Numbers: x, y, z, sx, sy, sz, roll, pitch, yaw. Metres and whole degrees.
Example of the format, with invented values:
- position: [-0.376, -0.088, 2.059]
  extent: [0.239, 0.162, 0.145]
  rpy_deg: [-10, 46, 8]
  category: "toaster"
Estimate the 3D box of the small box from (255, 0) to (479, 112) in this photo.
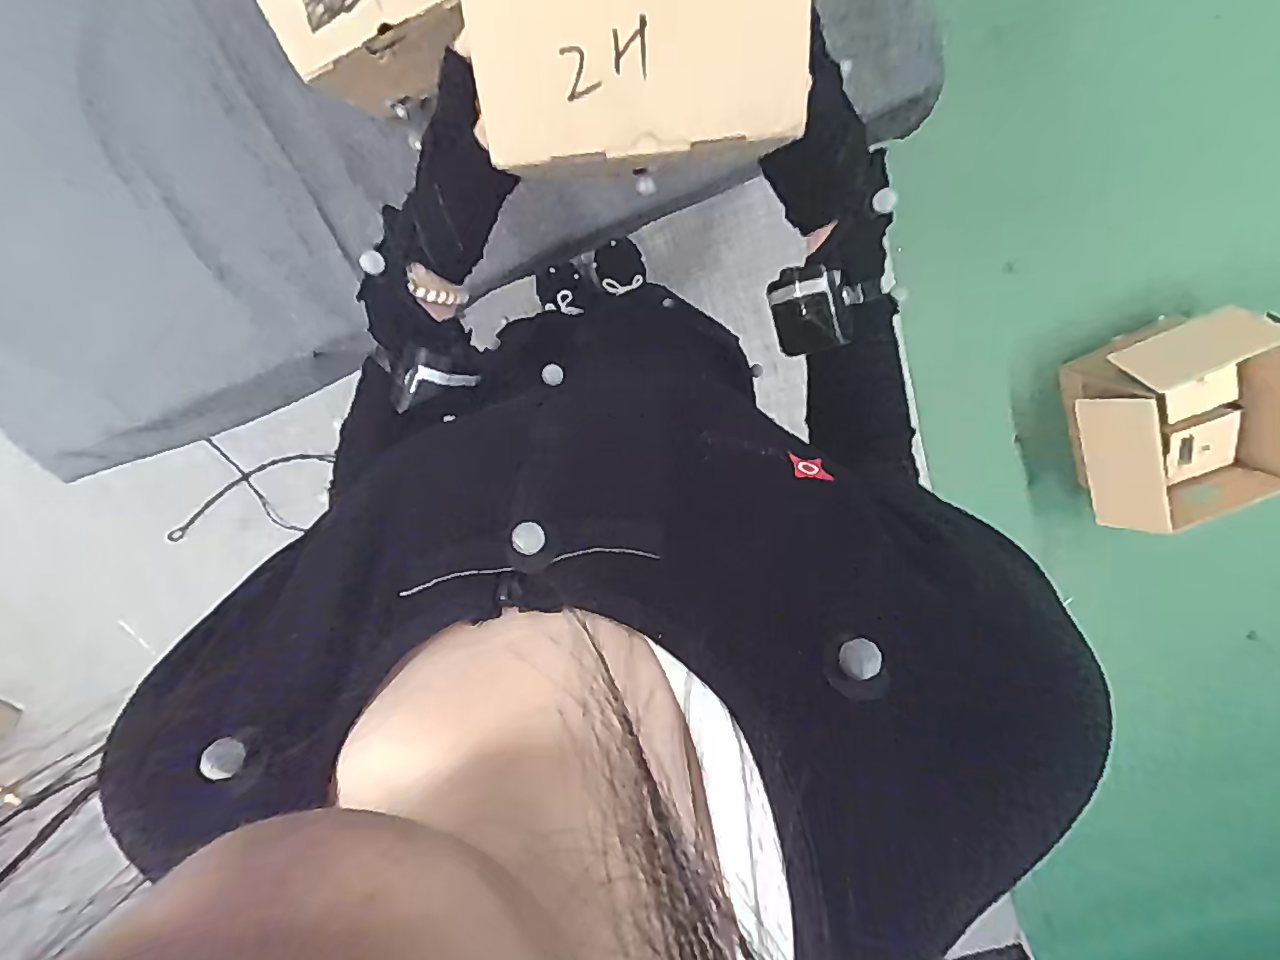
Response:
- position: [-0.238, -0.459, 0.478]
  extent: [0.168, 0.176, 0.179]
  rpy_deg: [-21, 112, 8]
  category: "small box"

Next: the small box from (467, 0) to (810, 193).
- position: [-0.004, -0.280, 0.320]
  extent: [0.168, 0.176, 0.179]
  rpy_deg: [-5, 116, 3]
  category: "small box"
